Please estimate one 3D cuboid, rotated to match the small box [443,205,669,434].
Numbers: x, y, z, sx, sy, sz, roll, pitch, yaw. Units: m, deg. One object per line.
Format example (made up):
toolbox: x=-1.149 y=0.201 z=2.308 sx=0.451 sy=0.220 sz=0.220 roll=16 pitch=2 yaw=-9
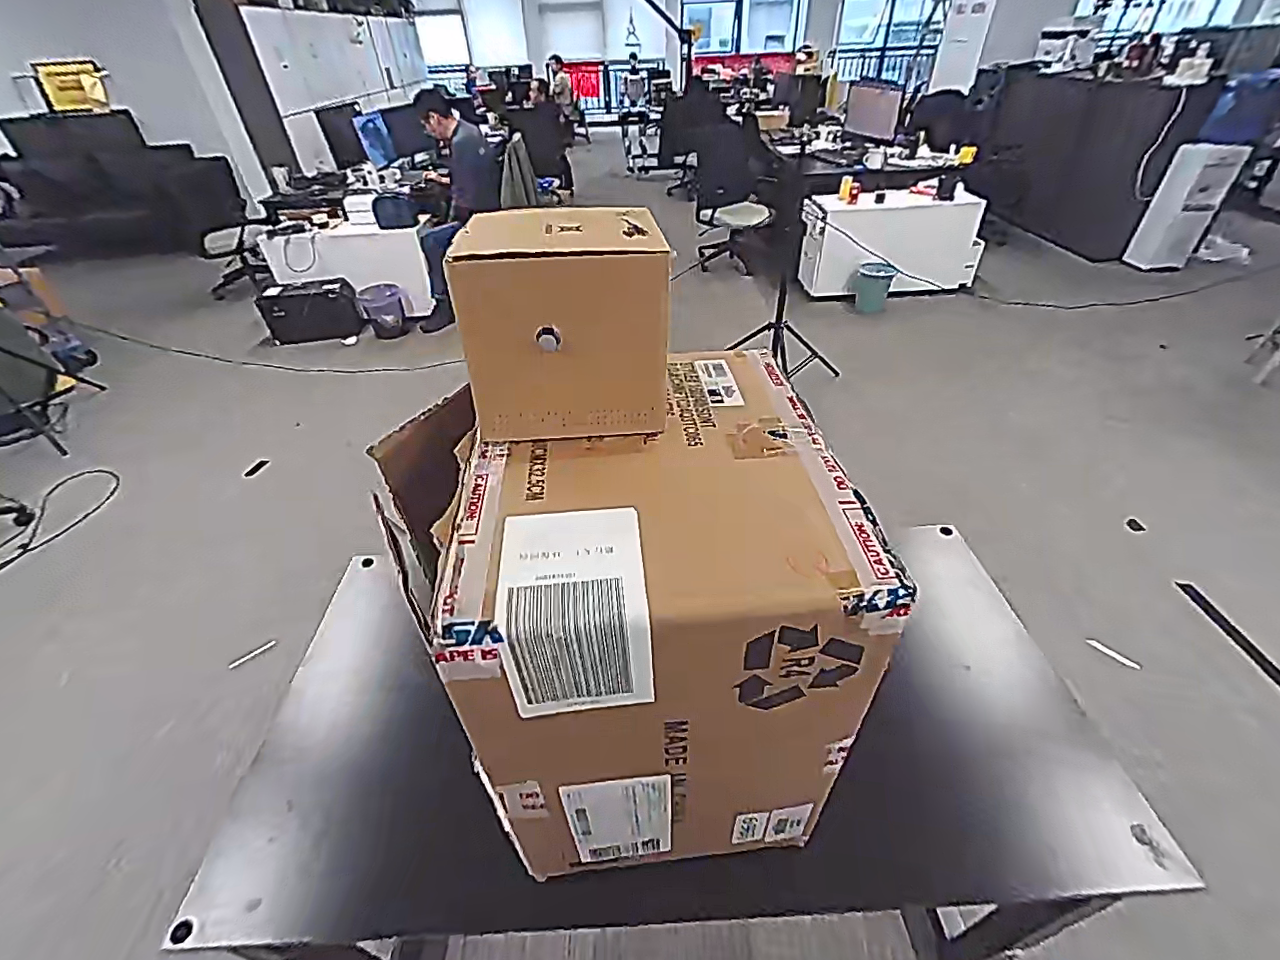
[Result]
small box: x=-0.068 y=-0.155 z=0.522 sx=0.179 sy=0.176 sz=0.168 roll=-5 pitch=37 yaw=-4
